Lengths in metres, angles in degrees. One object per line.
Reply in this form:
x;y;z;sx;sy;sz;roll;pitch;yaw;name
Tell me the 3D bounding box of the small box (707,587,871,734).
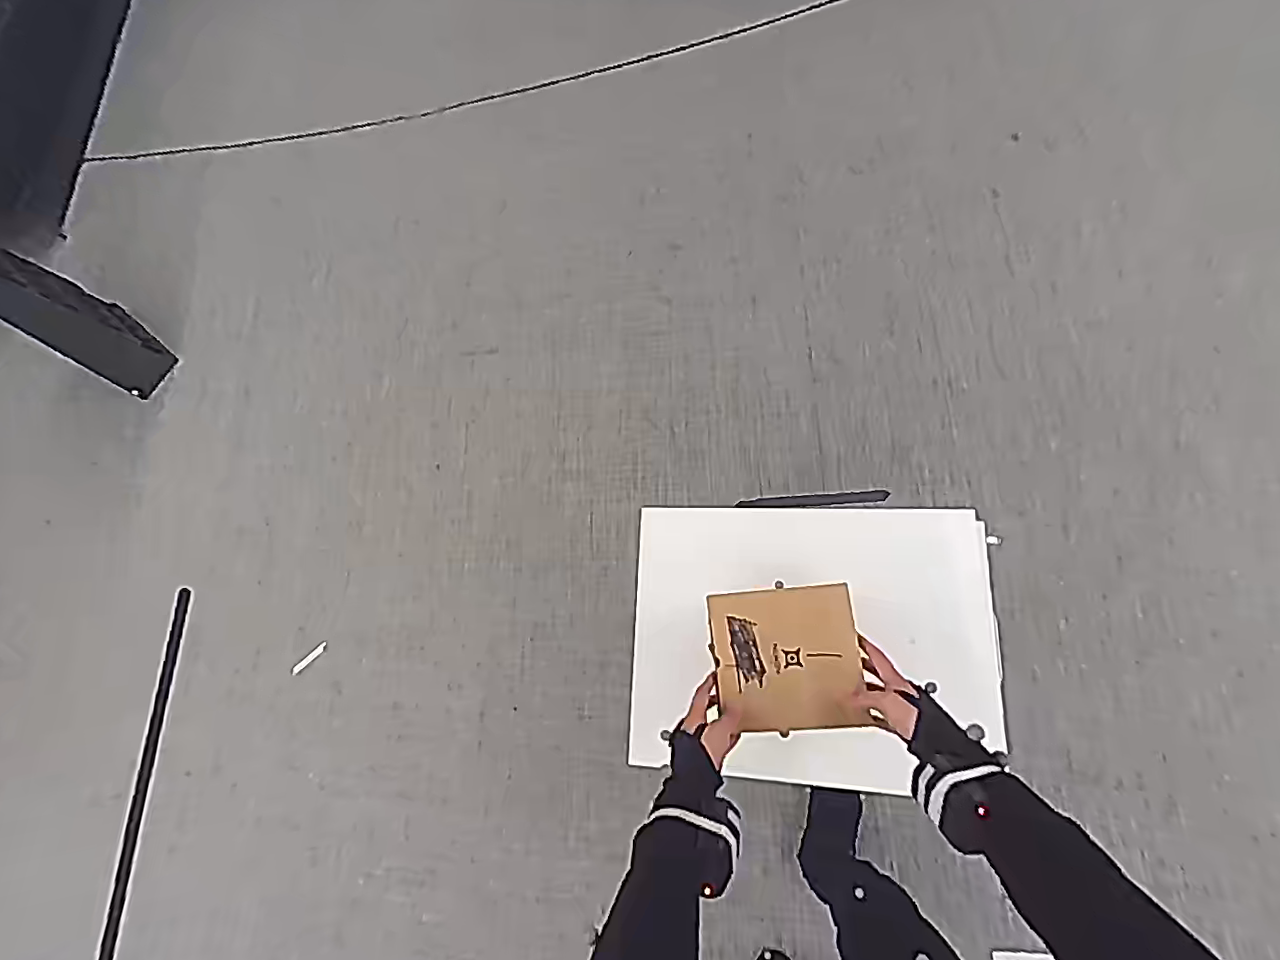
0.193;0.240;0.729;0.179;0.176;0.168;-8;73;10;small box
